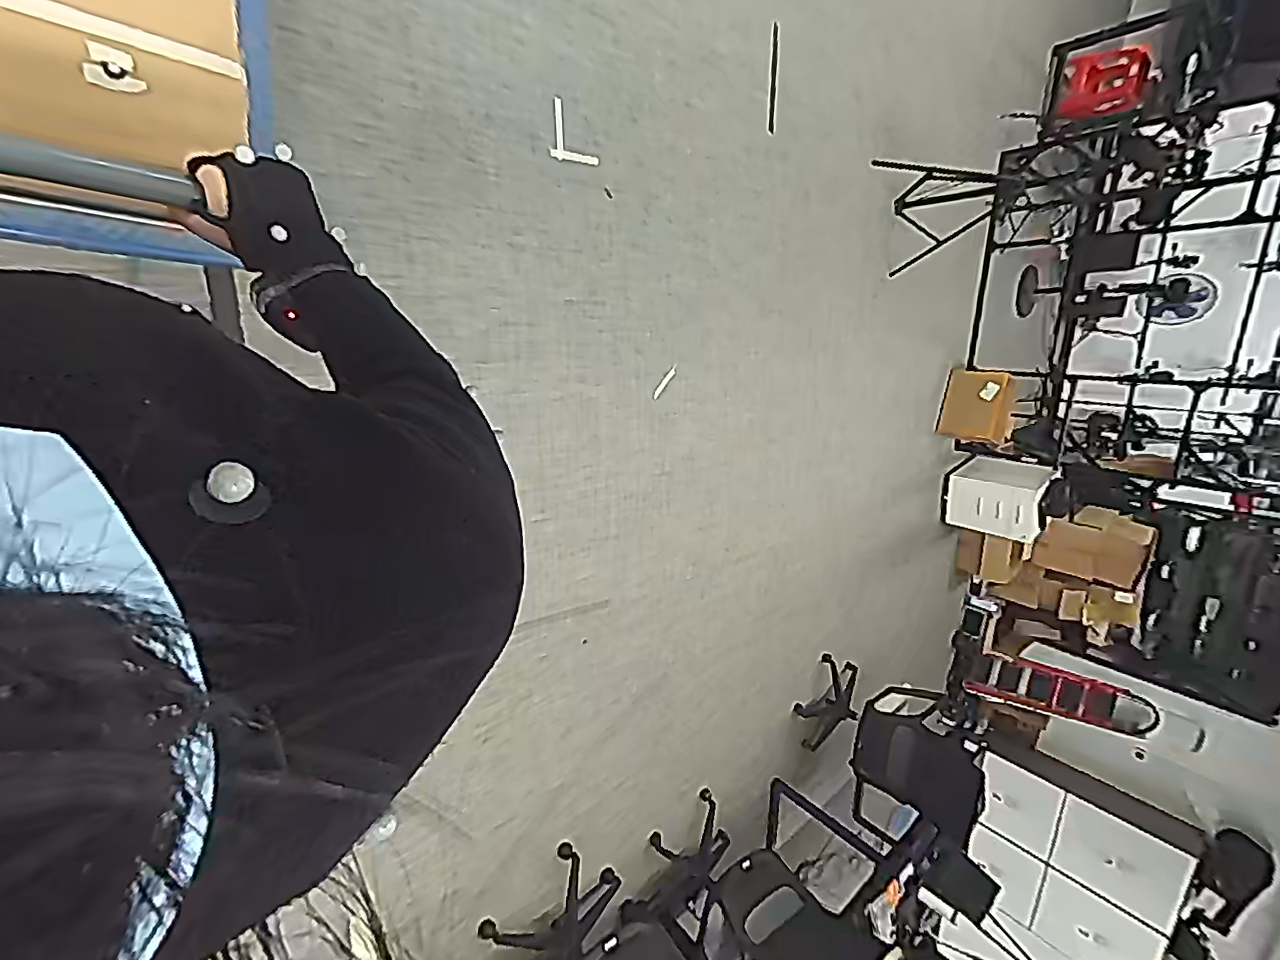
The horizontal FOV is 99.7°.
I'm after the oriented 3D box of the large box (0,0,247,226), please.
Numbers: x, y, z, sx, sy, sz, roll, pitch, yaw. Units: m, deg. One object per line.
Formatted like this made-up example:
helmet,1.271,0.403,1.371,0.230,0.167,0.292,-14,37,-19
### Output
large box,-0.816,-0.570,0.738,0.408,0.320,0.320,-7,107,-41
